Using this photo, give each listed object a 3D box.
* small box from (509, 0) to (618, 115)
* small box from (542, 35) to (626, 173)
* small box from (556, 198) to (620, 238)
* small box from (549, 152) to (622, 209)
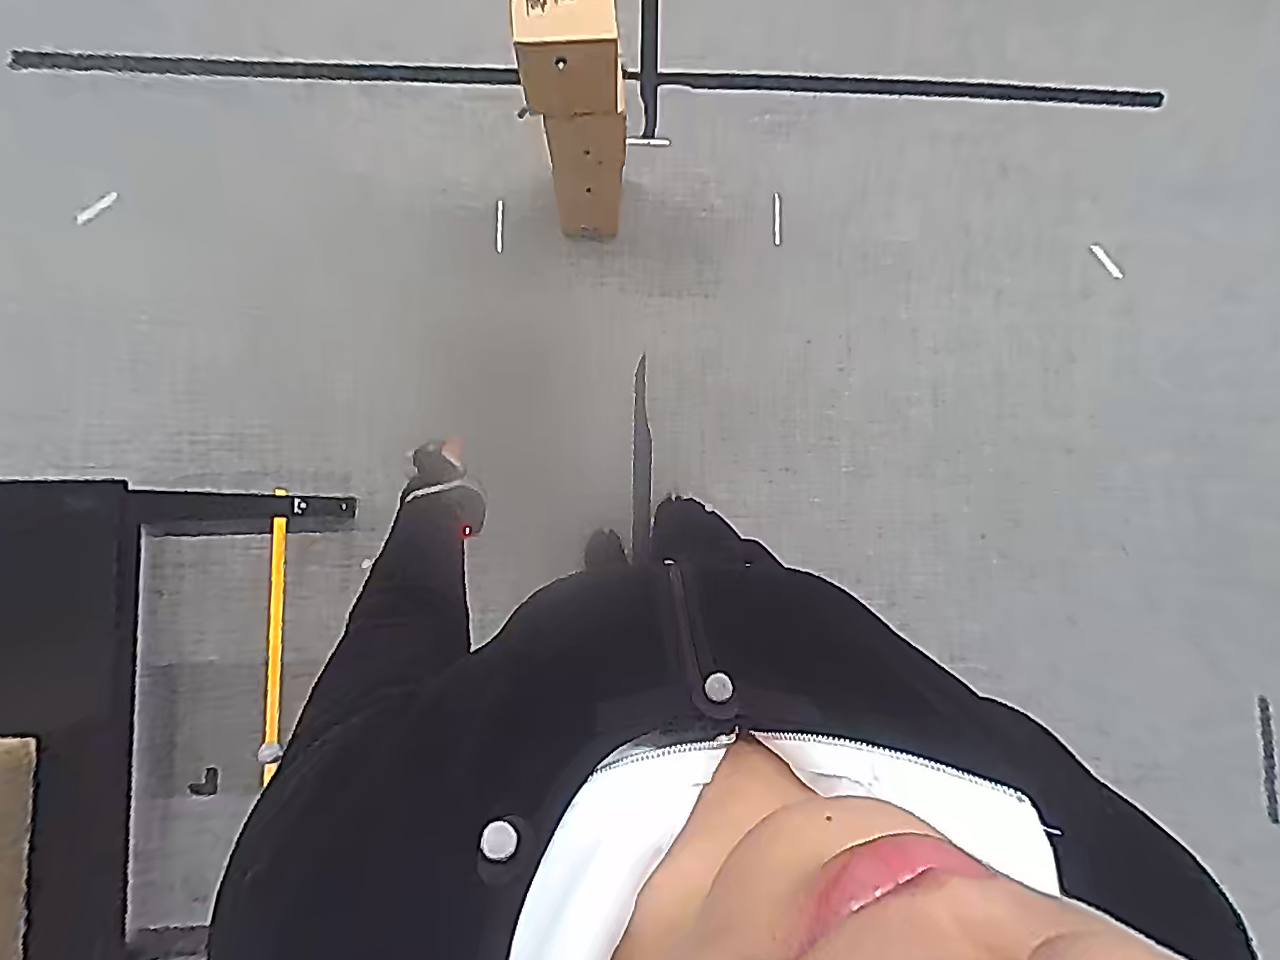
[{"bbox_3d":[-0.134,-0.793,0.974,0.179,0.176,0.168,-5,87,-3],"label":"small box"},{"bbox_3d":[-0.120,-0.785,1.139,0.168,0.176,0.179,-6,87,-2],"label":"small box"},{"bbox_3d":[-0.141,-0.784,1.468,0.168,0.176,0.179,-2,88,-2],"label":"small box"},{"bbox_3d":[-0.127,-0.777,1.304,0.168,0.176,0.179,-1,87,-2],"label":"small box"}]
